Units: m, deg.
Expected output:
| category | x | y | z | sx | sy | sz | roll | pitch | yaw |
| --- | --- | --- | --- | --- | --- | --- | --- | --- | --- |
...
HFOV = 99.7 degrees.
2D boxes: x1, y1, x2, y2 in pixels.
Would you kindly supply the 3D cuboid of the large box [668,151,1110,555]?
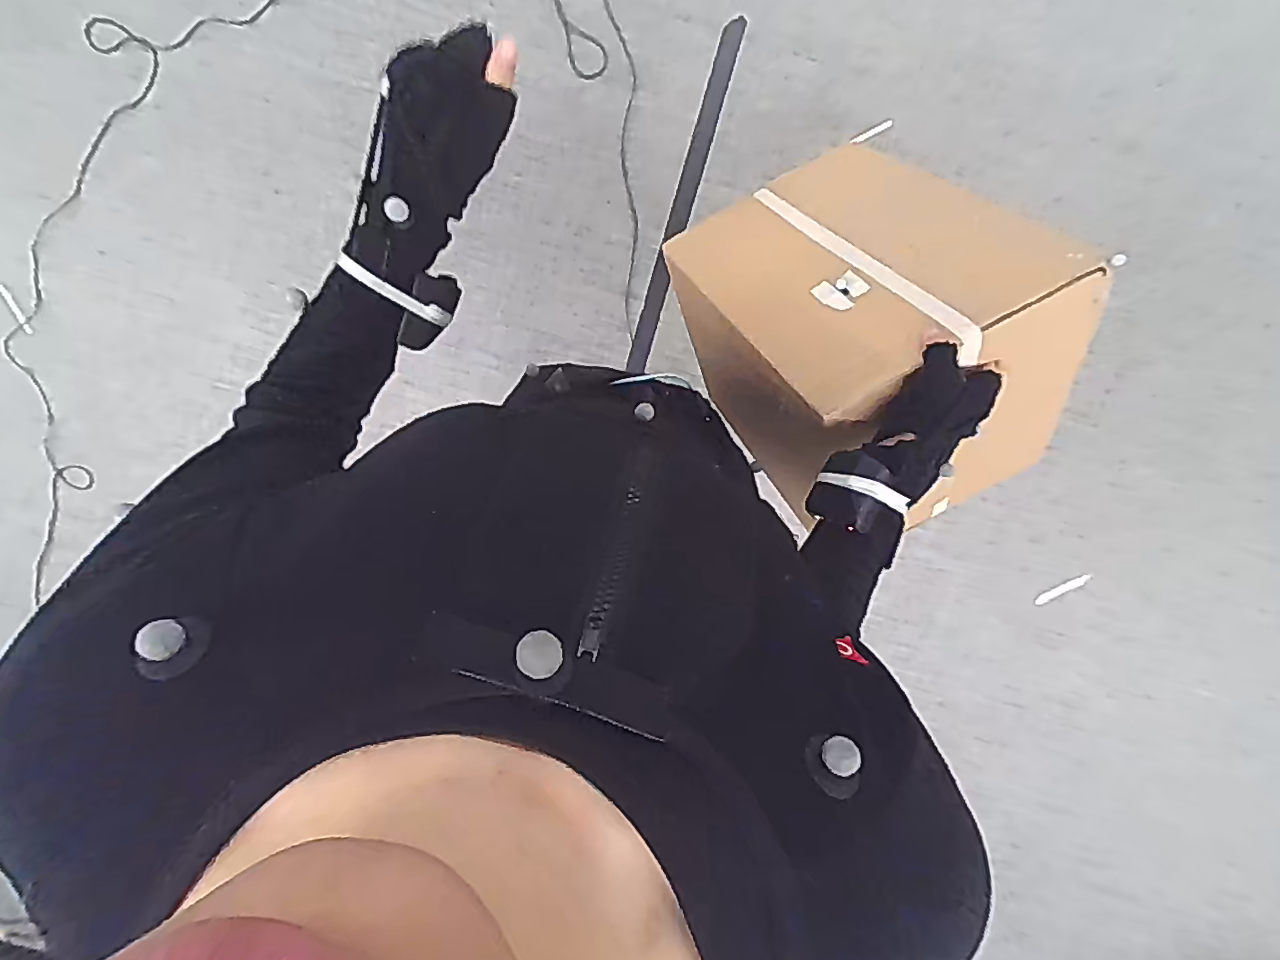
| category | x | y | z | sx | sy | sz | roll | pitch | yaw |
| --- | --- | --- | --- | --- | --- | --- | --- | --- | --- |
| large box | 0.286 | -0.179 | 0.753 | 0.320 | 0.408 | 0.320 | -28 | 140 | 1 |
